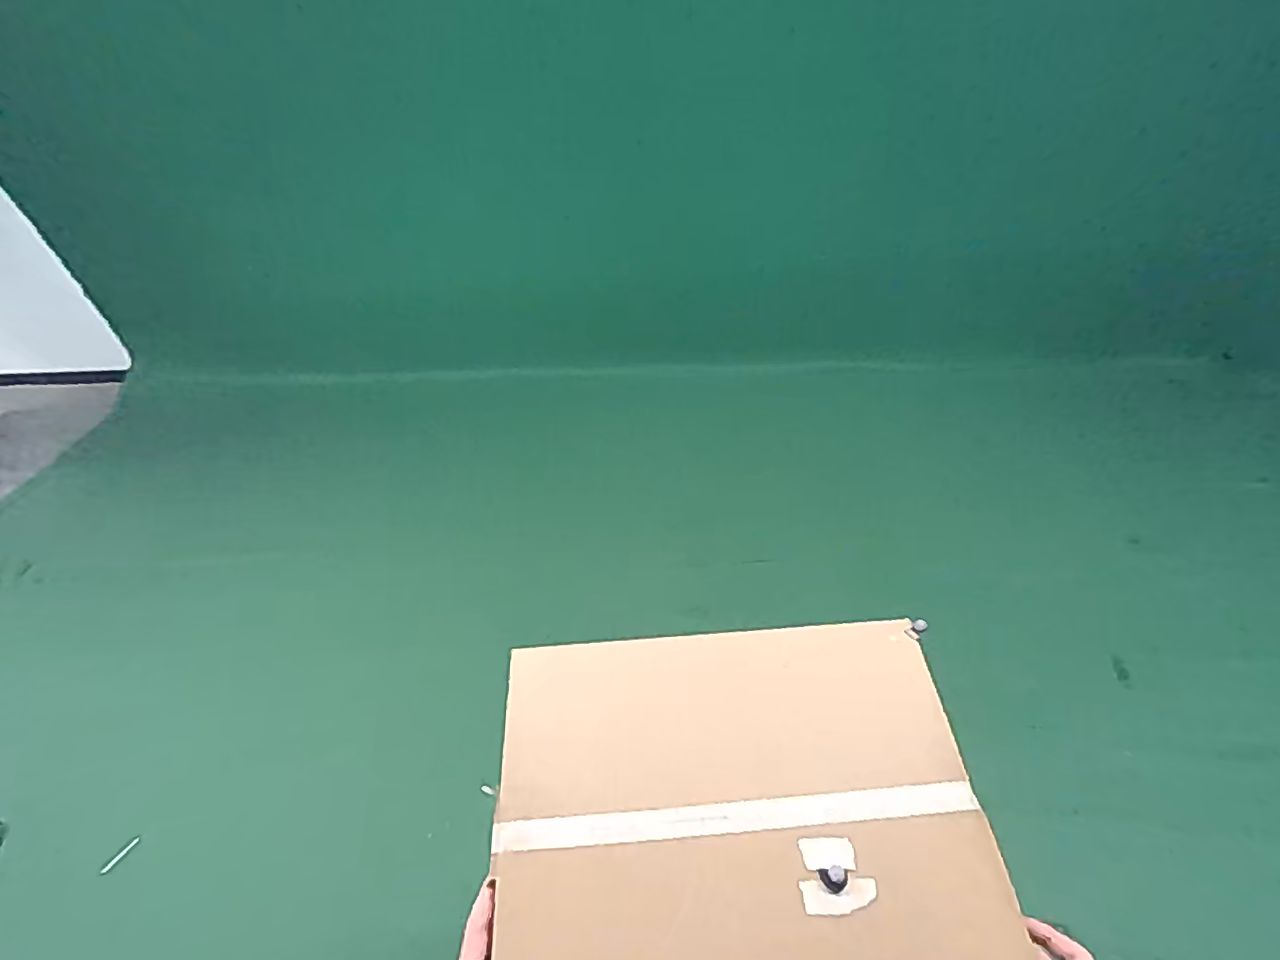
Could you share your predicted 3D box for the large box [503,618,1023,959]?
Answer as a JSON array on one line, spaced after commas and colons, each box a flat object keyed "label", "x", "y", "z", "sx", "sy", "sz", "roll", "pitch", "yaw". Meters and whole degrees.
[{"label": "large box", "x": 0.085, "y": 0.370, "z": 0.592, "sx": 0.408, "sy": 0.320, "sz": 0.320, "roll": -4, "pitch": 56, "yaw": -1}]
